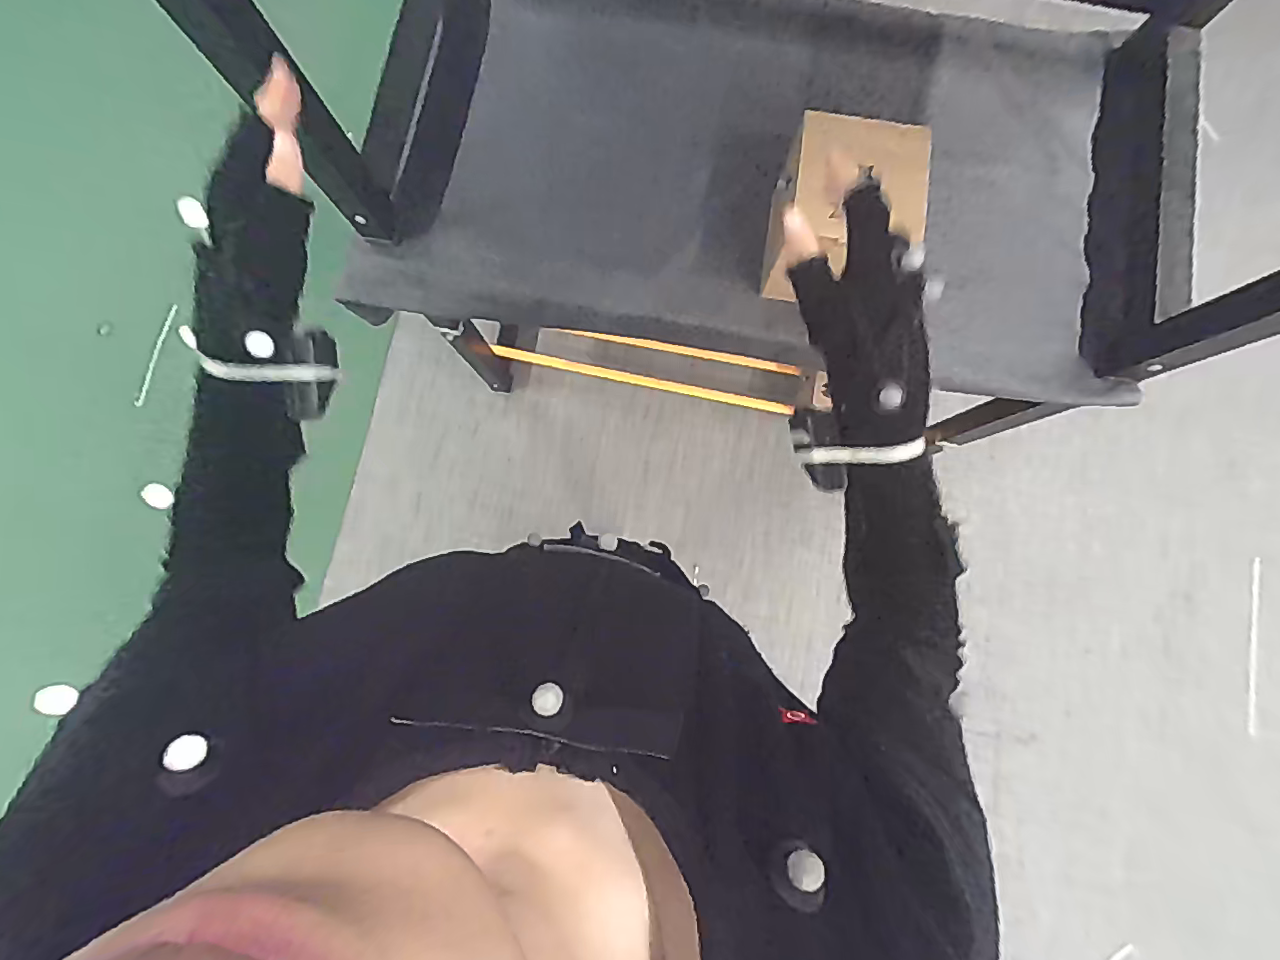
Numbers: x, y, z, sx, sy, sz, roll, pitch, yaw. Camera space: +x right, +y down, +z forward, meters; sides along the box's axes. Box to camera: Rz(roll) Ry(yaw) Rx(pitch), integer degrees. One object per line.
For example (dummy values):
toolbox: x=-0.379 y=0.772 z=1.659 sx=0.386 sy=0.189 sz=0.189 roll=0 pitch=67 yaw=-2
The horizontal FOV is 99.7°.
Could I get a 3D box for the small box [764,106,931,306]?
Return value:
small box: x=0.280 y=-0.373 z=0.761 sx=0.168 sy=0.176 sz=0.179 roll=9 pitch=82 yaw=1
